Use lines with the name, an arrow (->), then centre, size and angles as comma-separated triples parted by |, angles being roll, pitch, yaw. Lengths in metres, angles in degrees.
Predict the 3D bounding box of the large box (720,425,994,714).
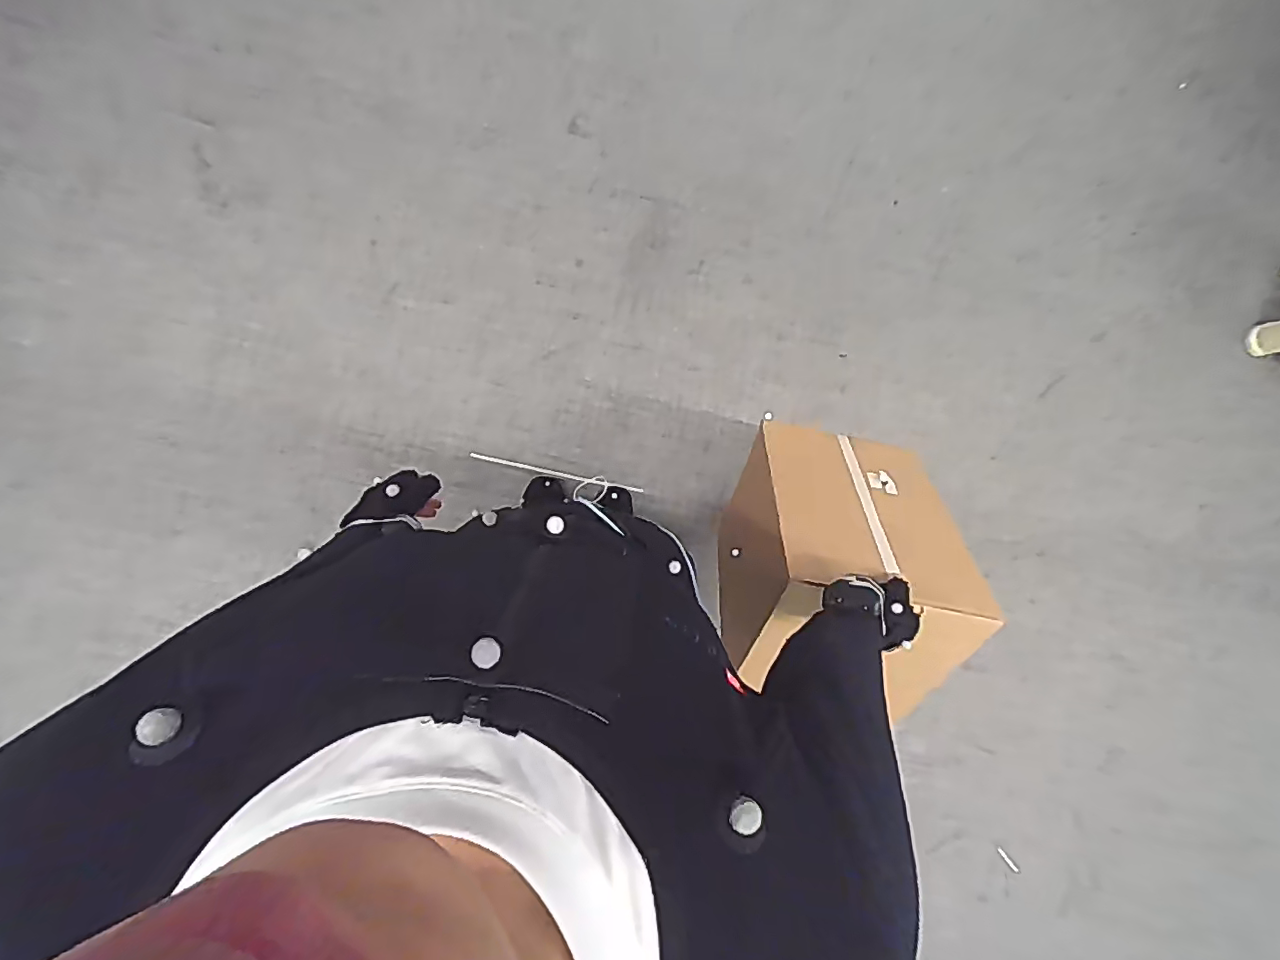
large box -> 0.342, 0.156, 1.001 | 0.320, 0.408, 0.320 | 12, 128, -4
